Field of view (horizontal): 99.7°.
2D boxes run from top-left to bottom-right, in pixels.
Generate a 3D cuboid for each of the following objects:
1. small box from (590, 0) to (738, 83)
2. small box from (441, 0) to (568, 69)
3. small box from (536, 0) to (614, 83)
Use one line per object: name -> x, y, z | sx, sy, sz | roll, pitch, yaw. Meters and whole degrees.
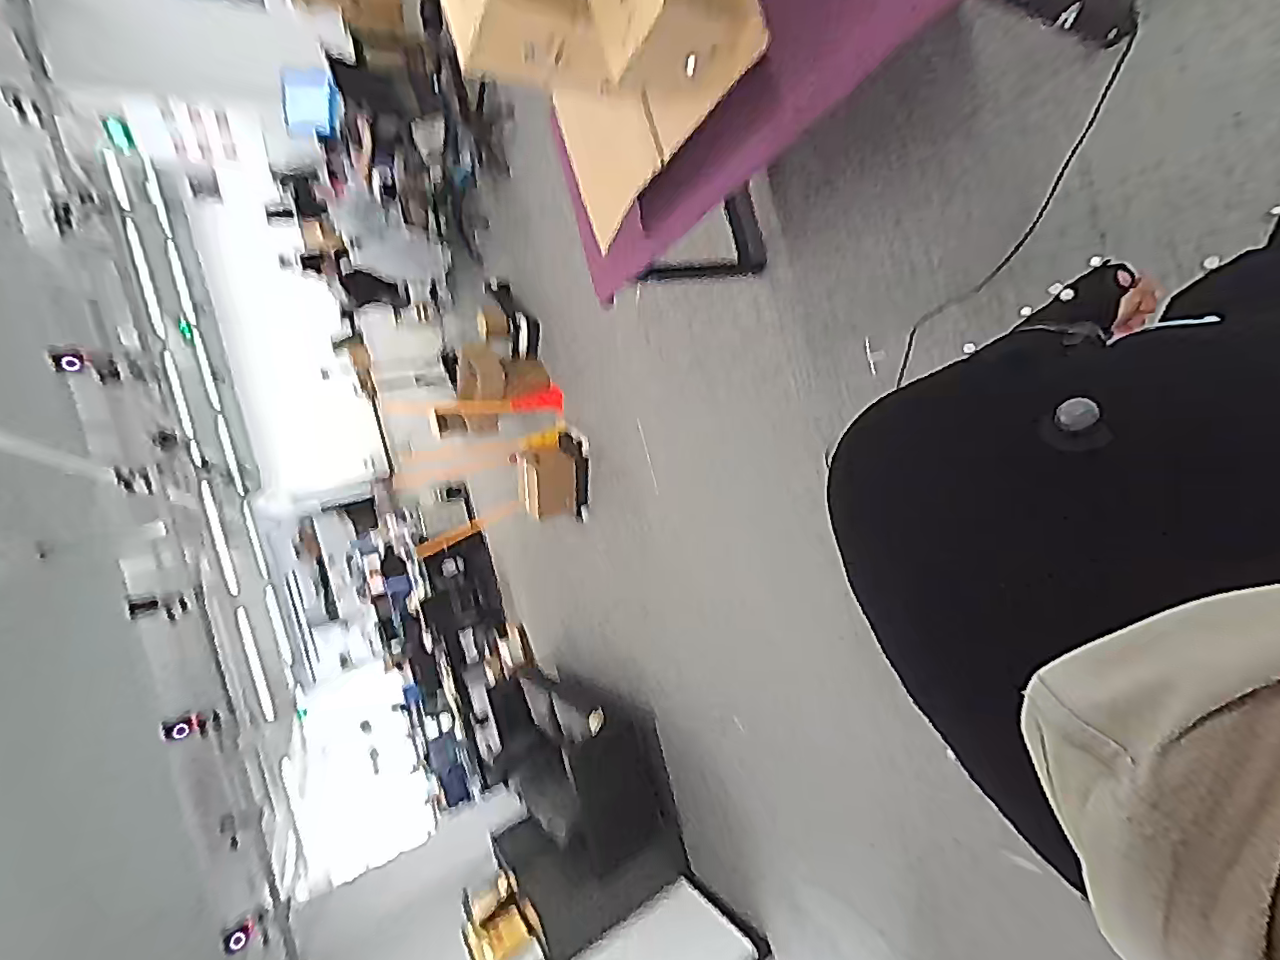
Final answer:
small box -> 0.036, -0.814, 0.907 | 0.168, 0.176, 0.179 | -15, 91, 57
small box -> -0.255, -0.906, 0.991 | 0.168, 0.176, 0.179 | -18, 89, 55
small box -> -0.123, -0.936, 1.081 | 0.168, 0.176, 0.179 | -17, 89, 55
